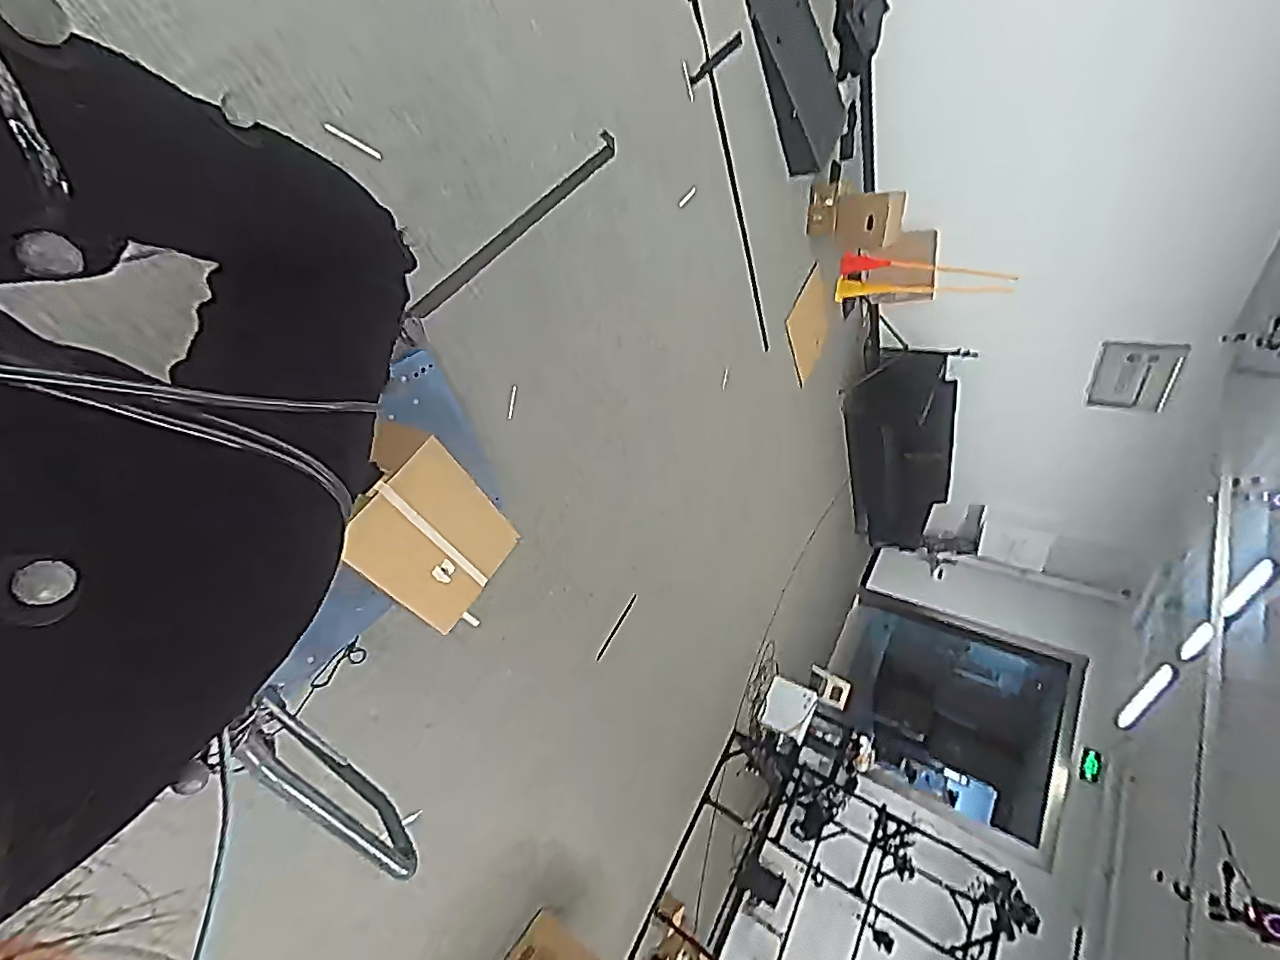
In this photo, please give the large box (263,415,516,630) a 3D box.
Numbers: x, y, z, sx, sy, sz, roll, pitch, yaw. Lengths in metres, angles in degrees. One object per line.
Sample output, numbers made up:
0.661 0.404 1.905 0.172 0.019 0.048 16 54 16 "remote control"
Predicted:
-0.591 0.100 1.326 0.320 0.320 0.408 -55 141 -26 "large box"
